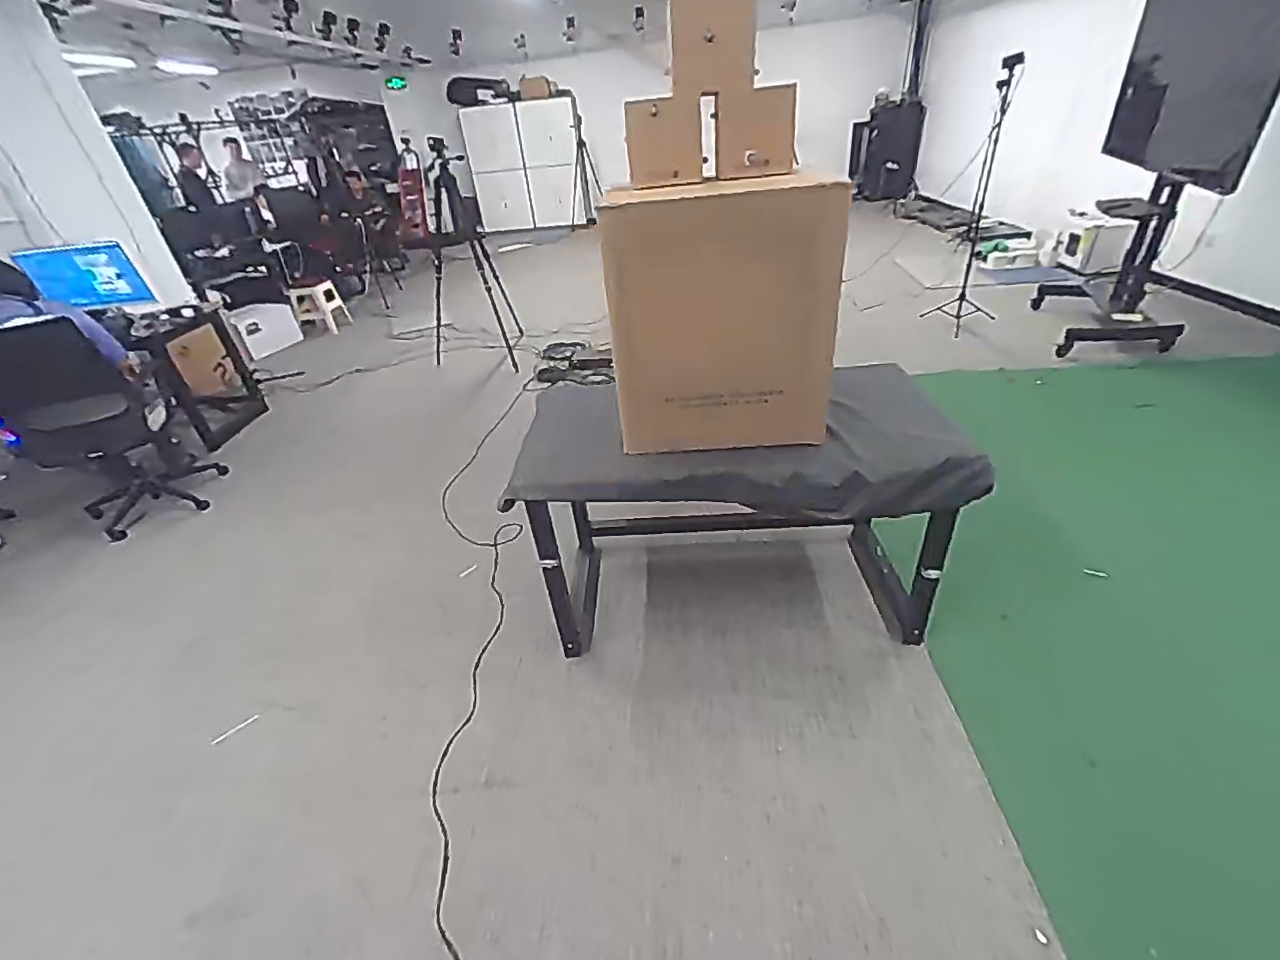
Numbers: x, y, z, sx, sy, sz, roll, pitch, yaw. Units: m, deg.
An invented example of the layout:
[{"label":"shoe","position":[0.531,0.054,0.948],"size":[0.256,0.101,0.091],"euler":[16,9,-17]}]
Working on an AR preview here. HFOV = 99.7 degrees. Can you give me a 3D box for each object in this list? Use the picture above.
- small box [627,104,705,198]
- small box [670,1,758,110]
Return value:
[{"label":"small box","position":[0.065,-0.766,1.269],"size":[0.168,0.176,0.179],"euler":[-4,31,6]},{"label":"small box","position":[0.156,-0.917,1.186],"size":[0.179,0.176,0.168],"euler":[-4,31,4]}]
